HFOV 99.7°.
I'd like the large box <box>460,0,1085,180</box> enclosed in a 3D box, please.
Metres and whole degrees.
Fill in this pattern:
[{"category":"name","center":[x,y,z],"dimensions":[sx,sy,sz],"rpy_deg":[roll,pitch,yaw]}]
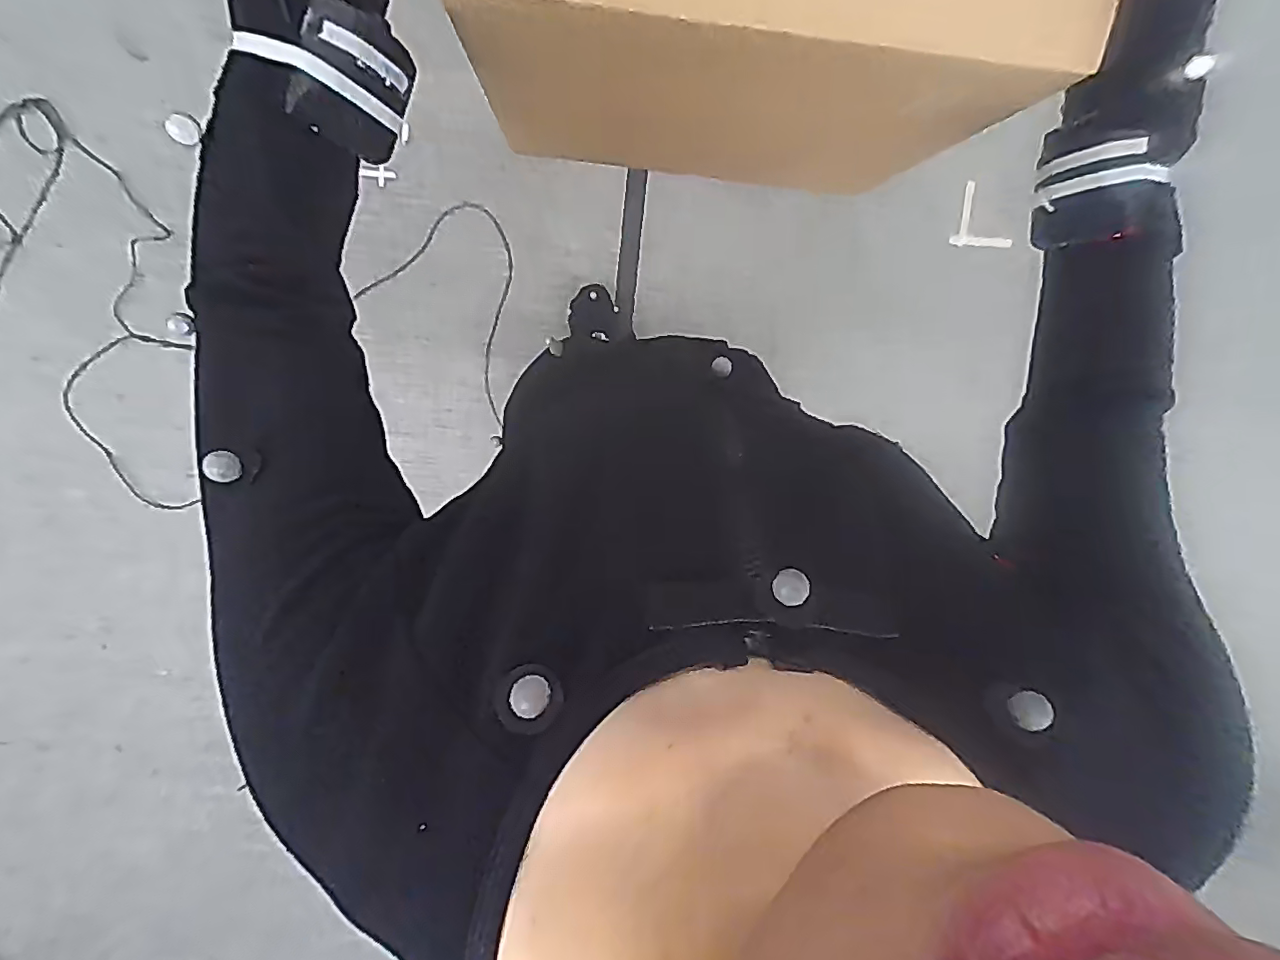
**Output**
[{"category":"large box","center":[0.078,-0.466,0.434],"dimensions":[0.408,0.320,0.320],"rpy_deg":[3,106,-6]}]
